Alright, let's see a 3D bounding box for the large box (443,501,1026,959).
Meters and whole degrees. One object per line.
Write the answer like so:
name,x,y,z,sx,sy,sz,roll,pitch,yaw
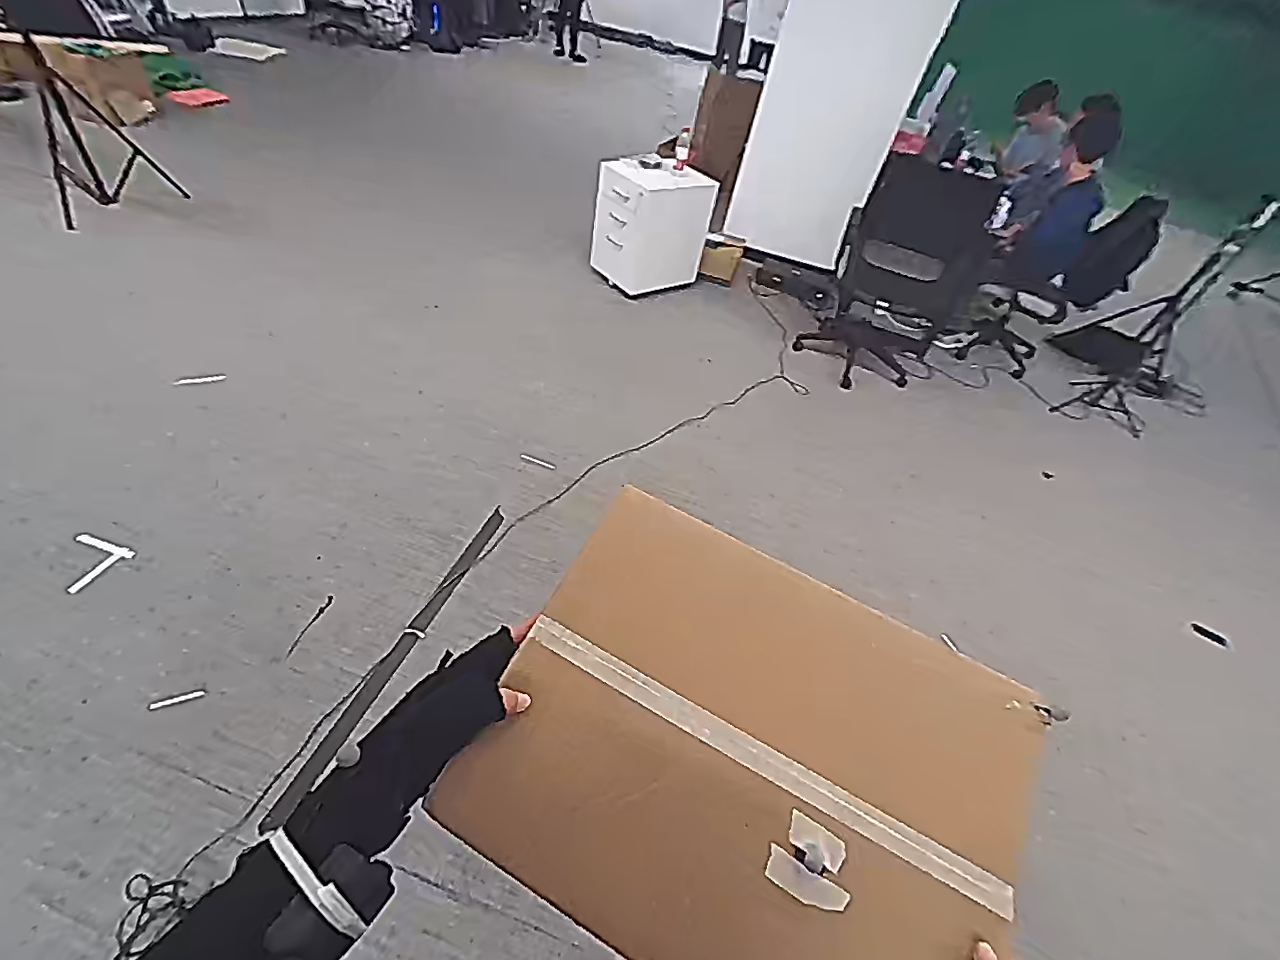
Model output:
large box,0.083,0.288,0.574,0.408,0.320,0.320,27,66,11
